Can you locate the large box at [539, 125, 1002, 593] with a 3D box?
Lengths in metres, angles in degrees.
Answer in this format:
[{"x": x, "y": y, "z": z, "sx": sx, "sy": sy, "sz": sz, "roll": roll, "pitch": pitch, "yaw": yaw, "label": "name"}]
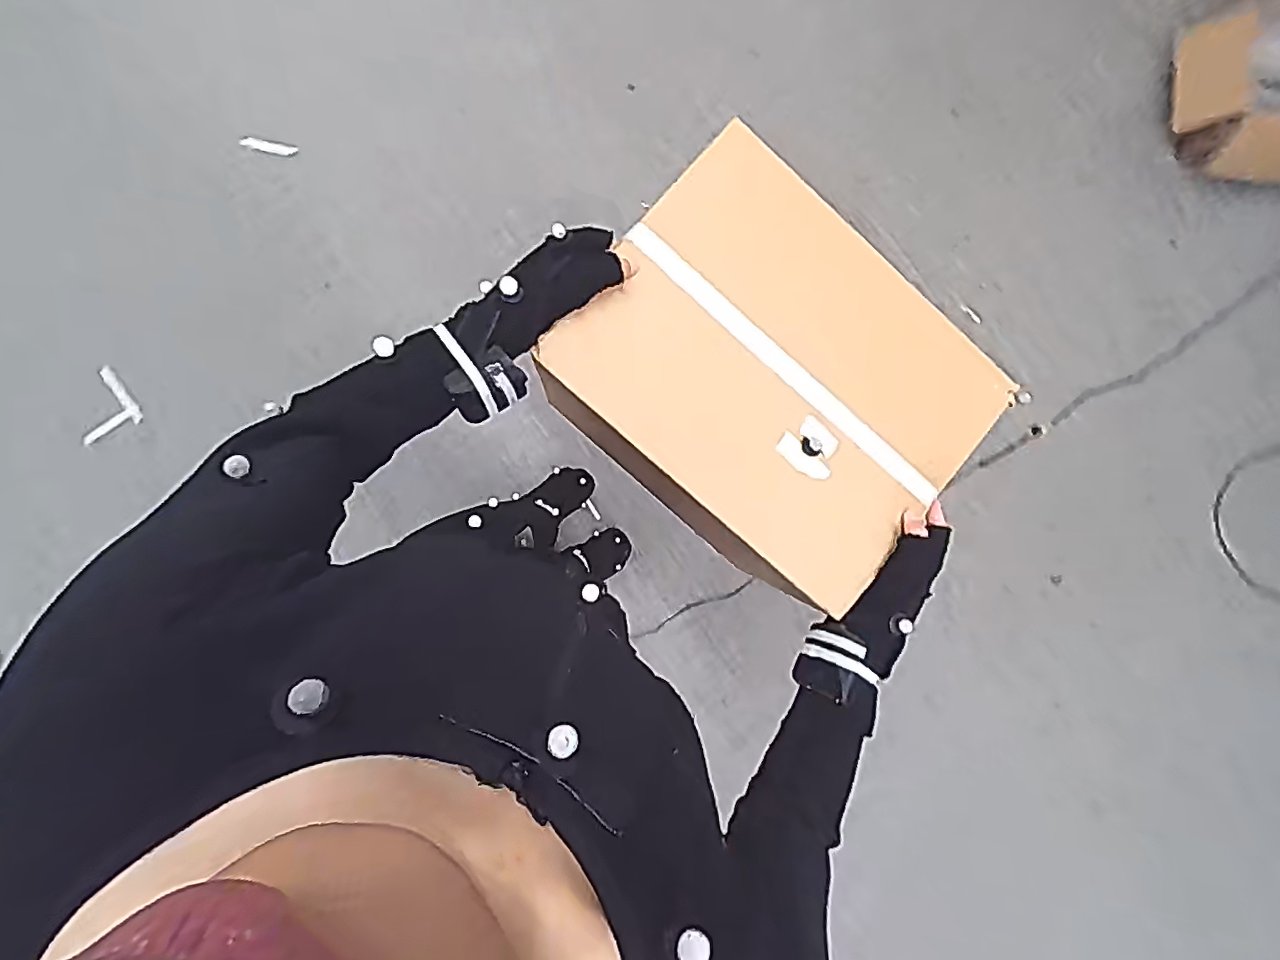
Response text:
[{"x": 0.125, "y": -0.121, "z": 0.697, "sx": 0.408, "sy": 0.320, "sz": 0.320, "roll": 40, "pitch": 86, "yaw": -5, "label": "large box"}]
